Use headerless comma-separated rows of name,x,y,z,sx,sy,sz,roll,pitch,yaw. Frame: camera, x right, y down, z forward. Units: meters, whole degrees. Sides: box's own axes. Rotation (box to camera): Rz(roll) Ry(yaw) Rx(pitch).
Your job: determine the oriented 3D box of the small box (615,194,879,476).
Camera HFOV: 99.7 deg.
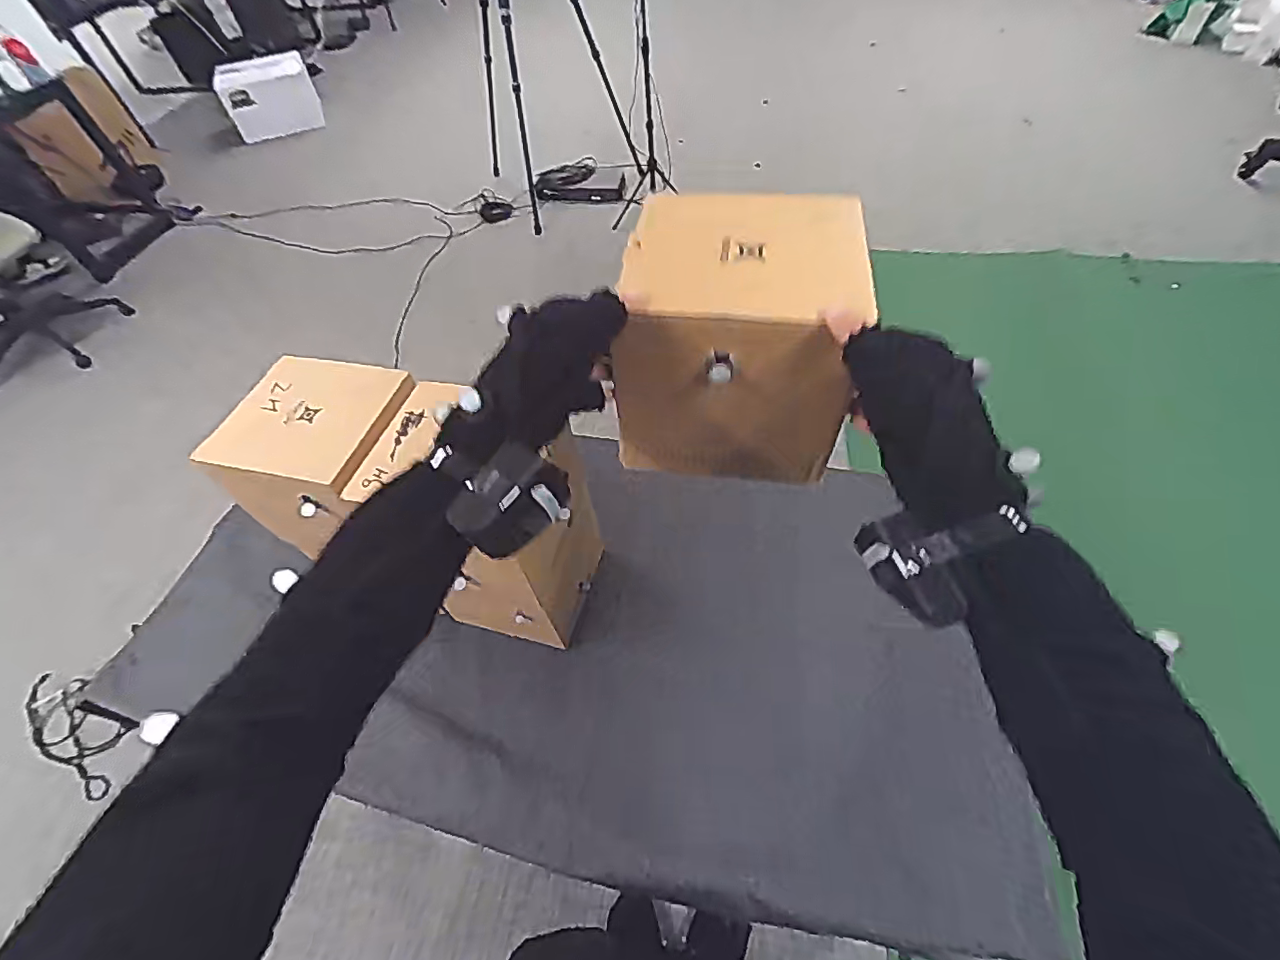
small box,0.085,-0.120,0.466,0.179,0.176,0.168,5,53,8
